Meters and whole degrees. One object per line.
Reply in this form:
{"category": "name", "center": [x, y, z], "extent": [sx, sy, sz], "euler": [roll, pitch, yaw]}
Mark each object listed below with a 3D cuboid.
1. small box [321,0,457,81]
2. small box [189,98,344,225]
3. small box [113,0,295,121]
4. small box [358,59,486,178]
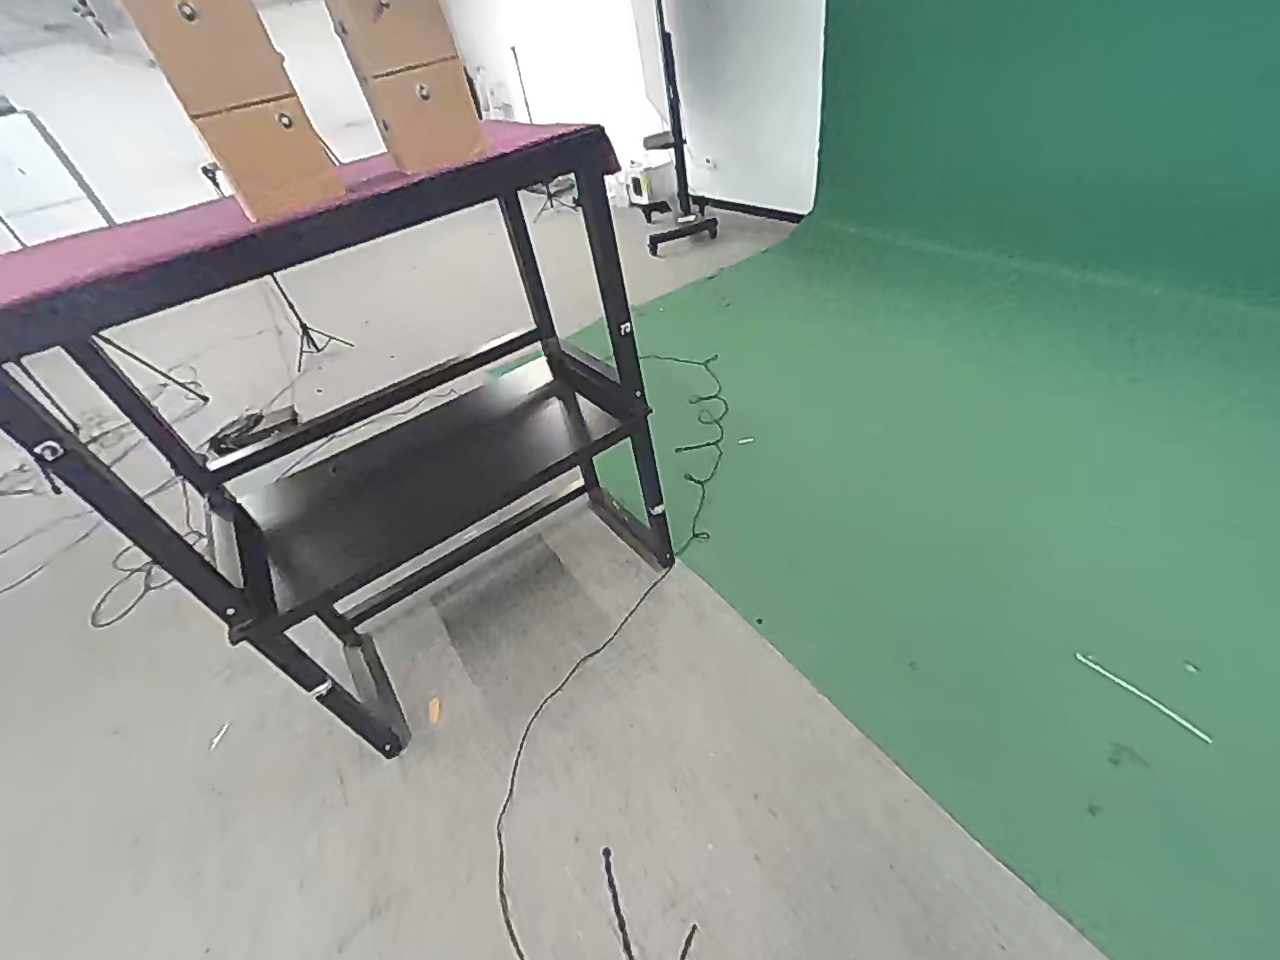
{"category": "small box", "center": [-0.477, -0.866, 1.015], "extent": [0.179, 0.176, 0.168], "euler": [-30, 44, -17]}
{"category": "small box", "center": [-0.699, -0.597, 1.019], "extent": [0.179, 0.176, 0.168], "euler": [-31, 43, -21]}
{"category": "small box", "center": [-0.728, -0.722, 0.914], "extent": [0.179, 0.176, 0.168], "euler": [-31, 43, -21]}
{"category": "small box", "center": [-0.448, -0.745, 1.120], "extent": [0.179, 0.176, 0.168], "euler": [-29, 43, -17]}
